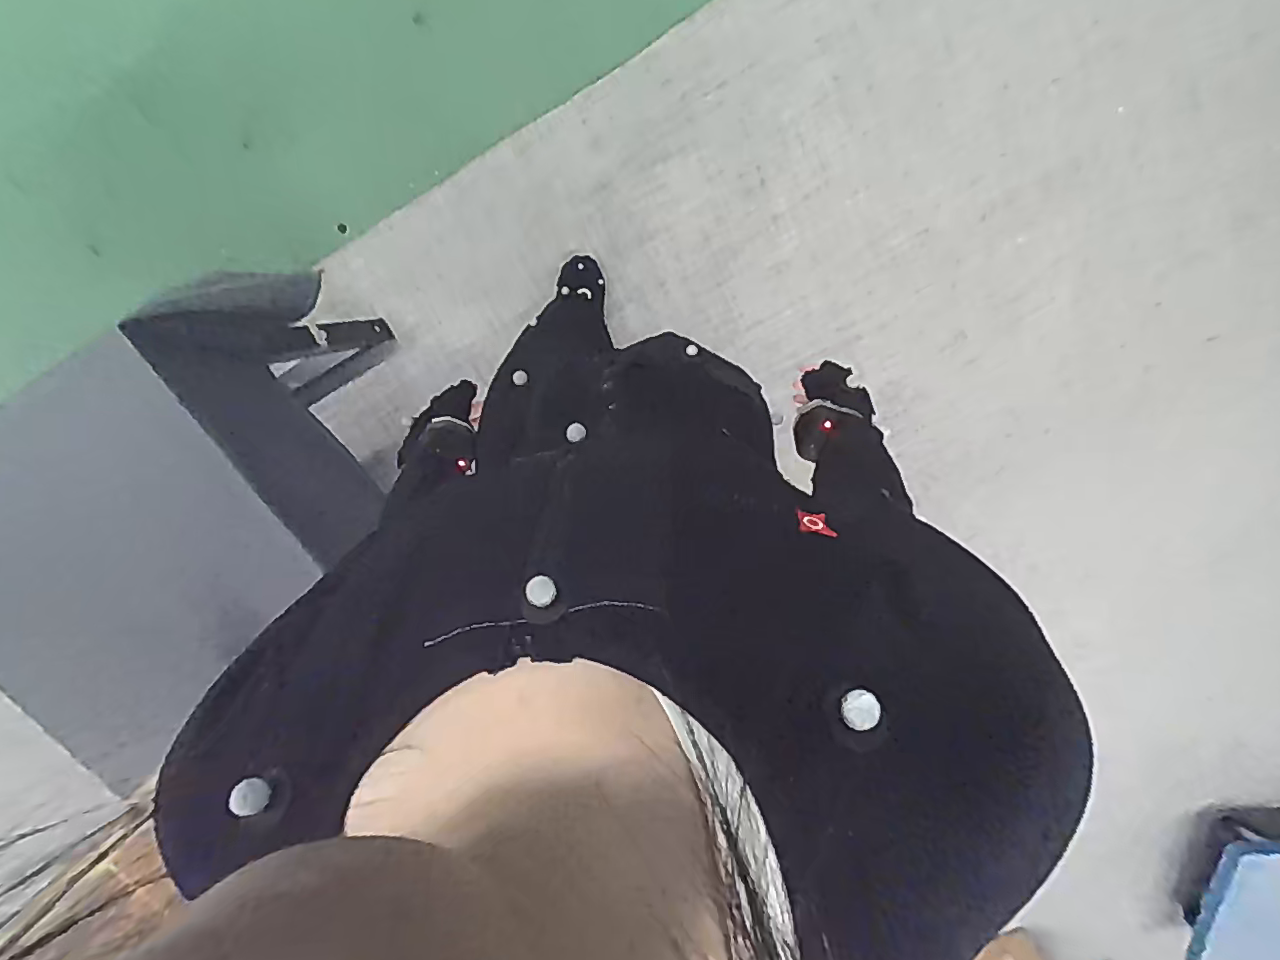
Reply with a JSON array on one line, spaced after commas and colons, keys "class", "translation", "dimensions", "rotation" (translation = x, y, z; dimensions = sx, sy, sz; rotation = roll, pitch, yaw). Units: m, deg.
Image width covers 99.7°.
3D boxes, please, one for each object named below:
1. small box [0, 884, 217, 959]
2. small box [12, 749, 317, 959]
[{"class": "small box", "translation": [-0.554, 0.516, 0.498], "dimensions": [0.168, 0.176, 0.179], "rotation": [-26, 105, 10]}, {"class": "small box", "translation": [-0.547, 0.459, 0.651], "dimensions": [0.168, 0.176, 0.179], "rotation": [-28, 106, 10]}]
